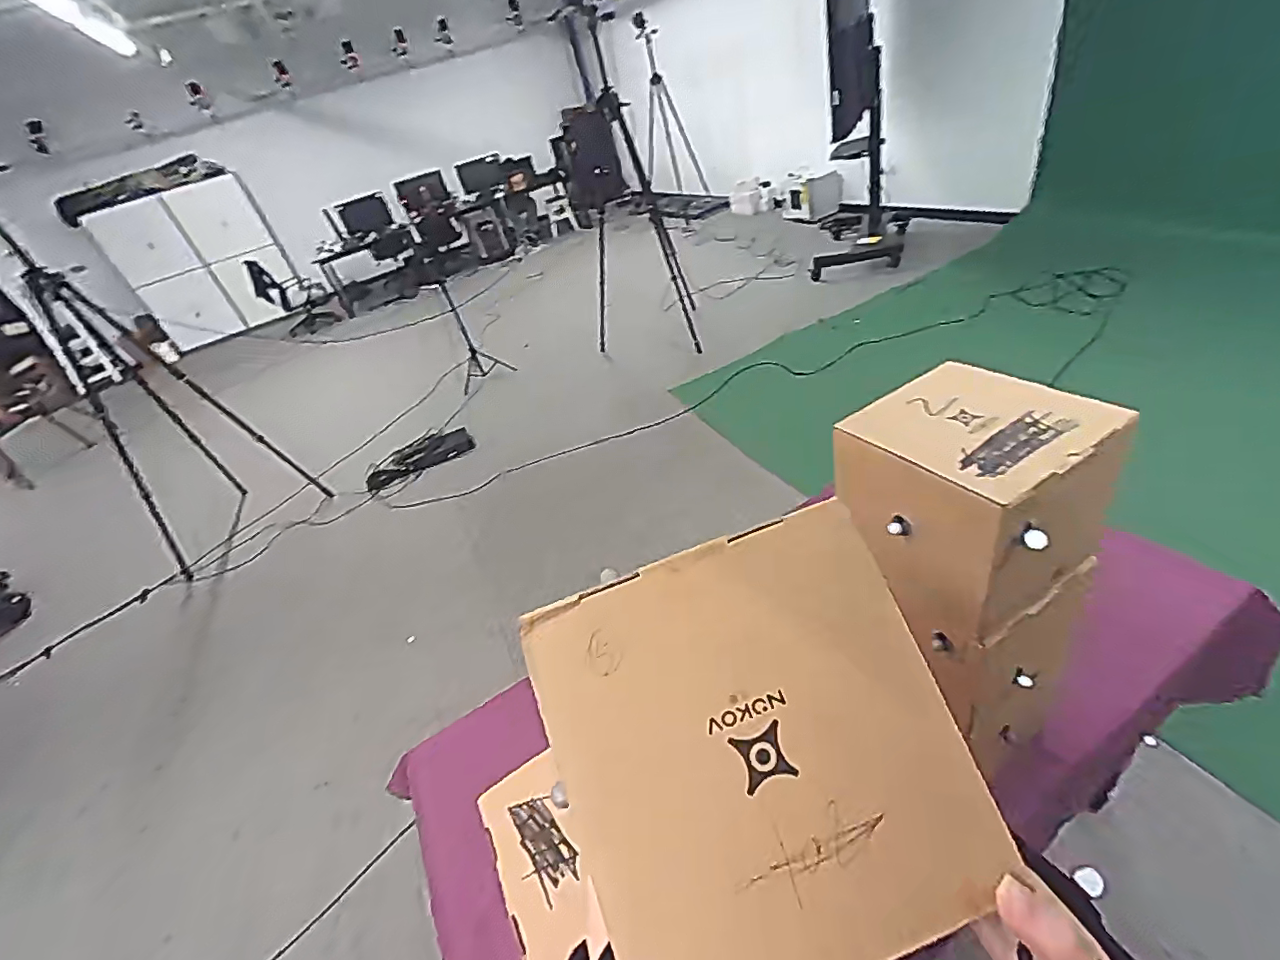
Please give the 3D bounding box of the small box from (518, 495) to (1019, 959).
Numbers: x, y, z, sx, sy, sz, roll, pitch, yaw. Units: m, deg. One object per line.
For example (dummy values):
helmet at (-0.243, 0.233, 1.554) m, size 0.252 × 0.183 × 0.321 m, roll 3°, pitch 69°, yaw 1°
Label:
small box at (0.047, 0.131, 0.306) m, size 0.168 × 0.176 × 0.179 m, roll -20°, pitch 76°, yaw -5°

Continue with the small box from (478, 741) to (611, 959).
small box at (-0.020, 0.344, 0.503) m, size 0.179 × 0.176 × 0.168 m, roll -29°, pitch 37°, yaw -16°

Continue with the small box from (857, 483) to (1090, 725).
small box at (0.356, 0.138, 0.623) m, size 0.168 × 0.176 × 0.179 m, roll -29°, pitch 37°, yaw -15°

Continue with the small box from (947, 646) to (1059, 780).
small box at (0.402, 0.266, 0.713) m, size 0.179 × 0.176 × 0.168 m, roll -30°, pitch 37°, yaw -16°
